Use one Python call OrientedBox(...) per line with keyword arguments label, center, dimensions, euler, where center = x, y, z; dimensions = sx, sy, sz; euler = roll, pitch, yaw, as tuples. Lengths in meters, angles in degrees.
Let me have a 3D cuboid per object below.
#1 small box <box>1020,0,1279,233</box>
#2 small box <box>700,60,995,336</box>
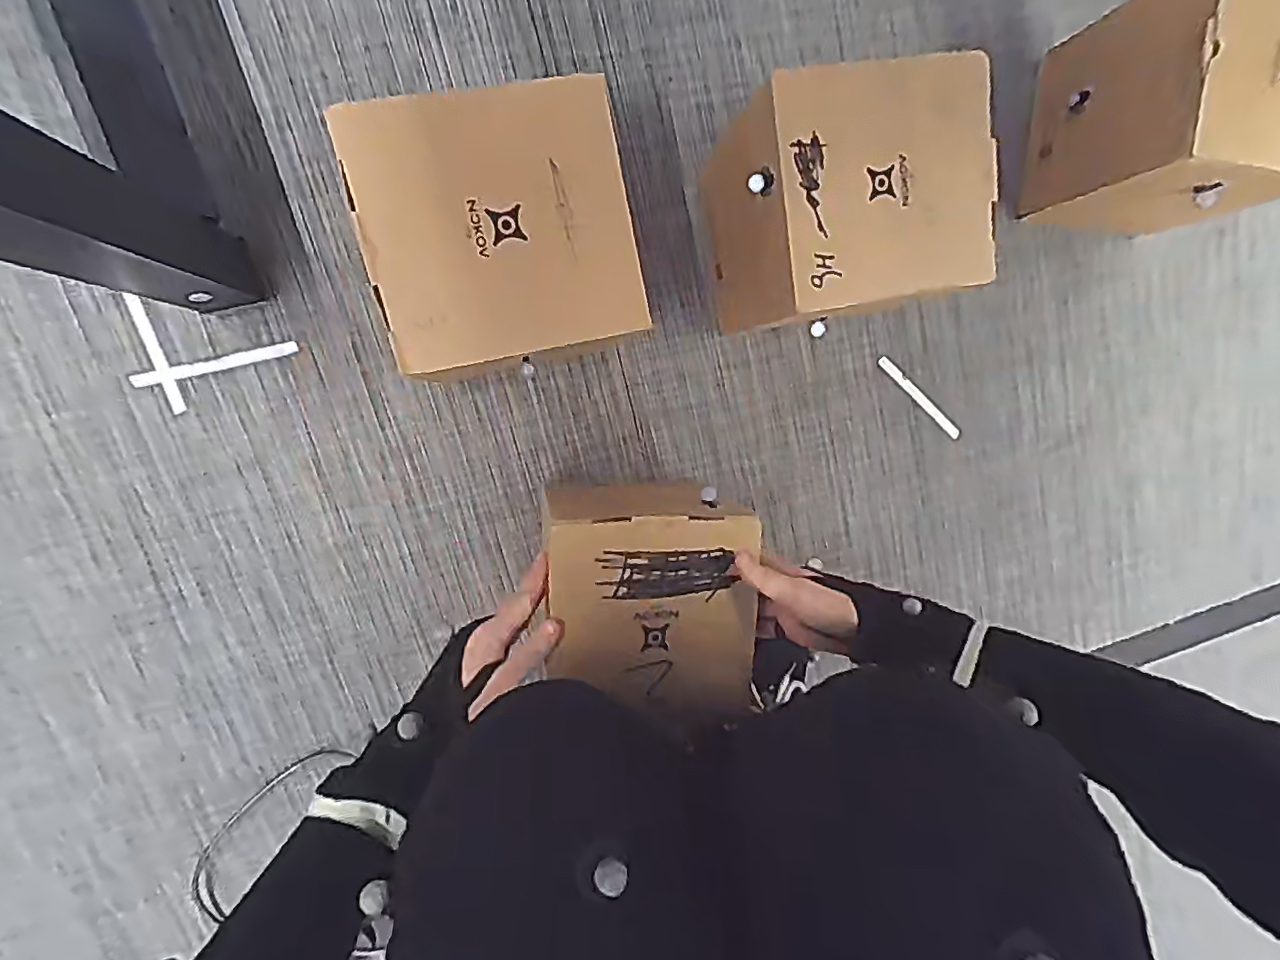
OrientedBox(label="small box", center=(0.524, -0.353, 0.525), dimensions=(0.179, 0.176, 0.168), euler=(1, 99, -10))
OrientedBox(label="small box", center=(0.169, -0.226, 0.474), dimensions=(0.179, 0.176, 0.168), euler=(-11, 101, -9))
